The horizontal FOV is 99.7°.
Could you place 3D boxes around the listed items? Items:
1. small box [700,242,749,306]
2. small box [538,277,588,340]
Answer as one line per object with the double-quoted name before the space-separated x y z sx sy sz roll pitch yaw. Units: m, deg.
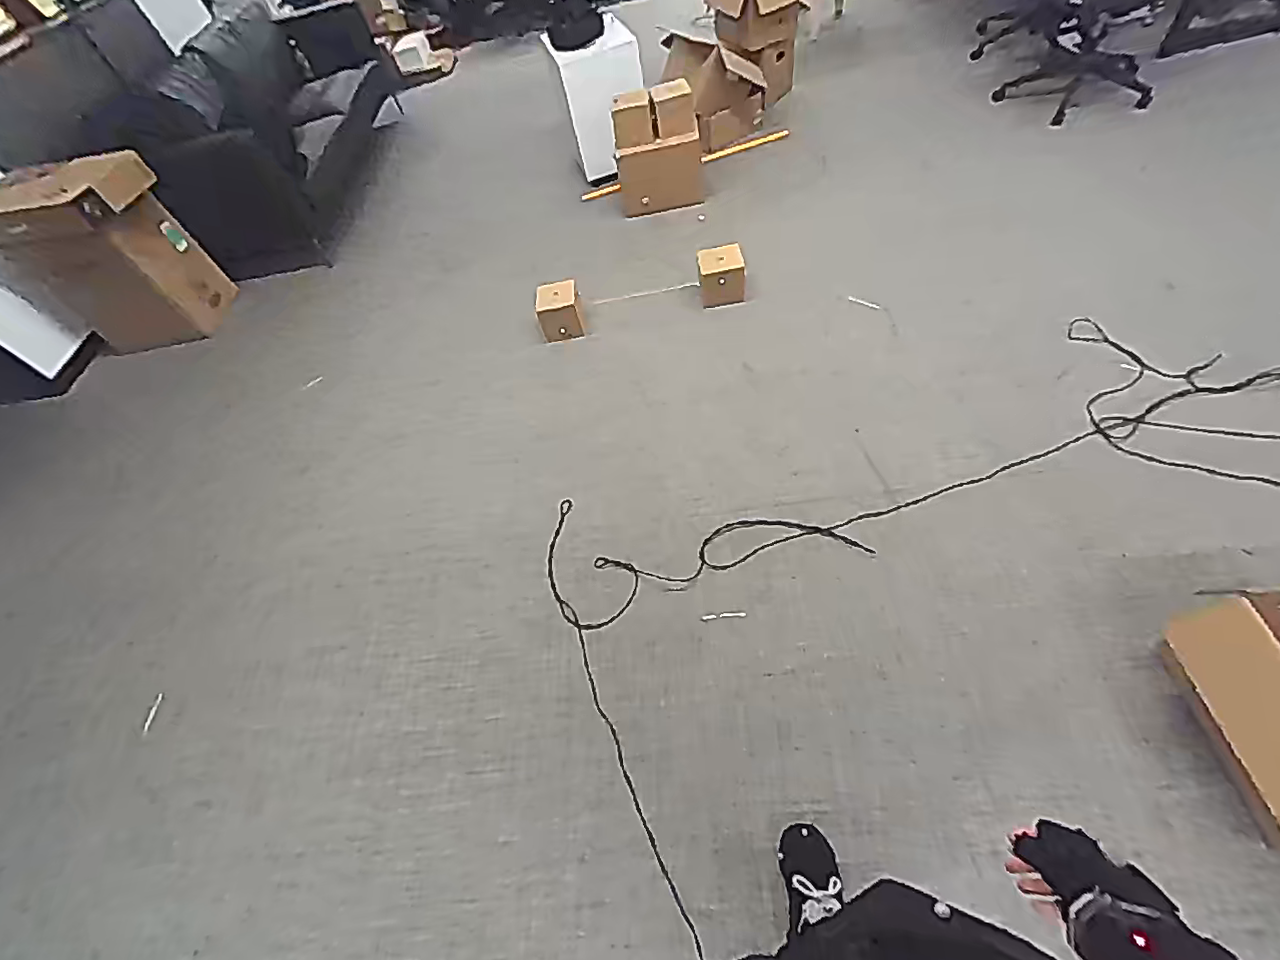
"small box" 0.349 -0.845 2.226 0.179 0.176 0.168 -9 55 7
"small box" -0.323 -0.726 2.294 0.168 0.176 0.179 -9 54 7
